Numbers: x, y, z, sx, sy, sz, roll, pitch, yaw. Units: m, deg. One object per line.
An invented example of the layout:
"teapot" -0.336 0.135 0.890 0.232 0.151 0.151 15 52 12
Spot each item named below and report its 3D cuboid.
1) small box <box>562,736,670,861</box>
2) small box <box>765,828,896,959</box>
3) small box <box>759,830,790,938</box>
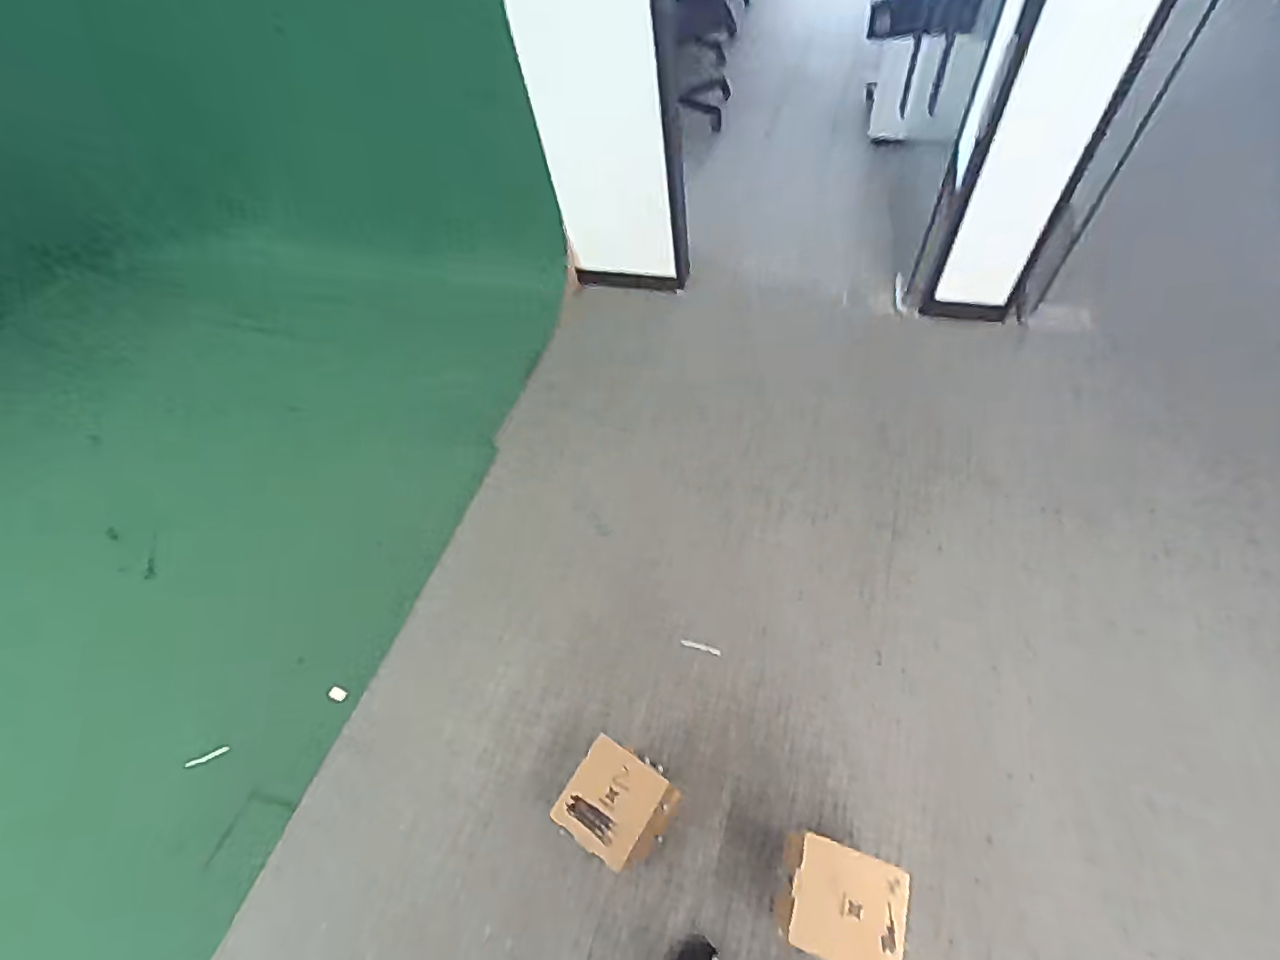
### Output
"small box" -0.044 0.715 1.218 0.168 0.176 0.179 34 68 25
"small box" 0.326 0.743 0.951 0.179 0.176 0.168 15 61 19
"small box" 0.340 0.834 1.087 0.168 0.176 0.179 14 60 17
